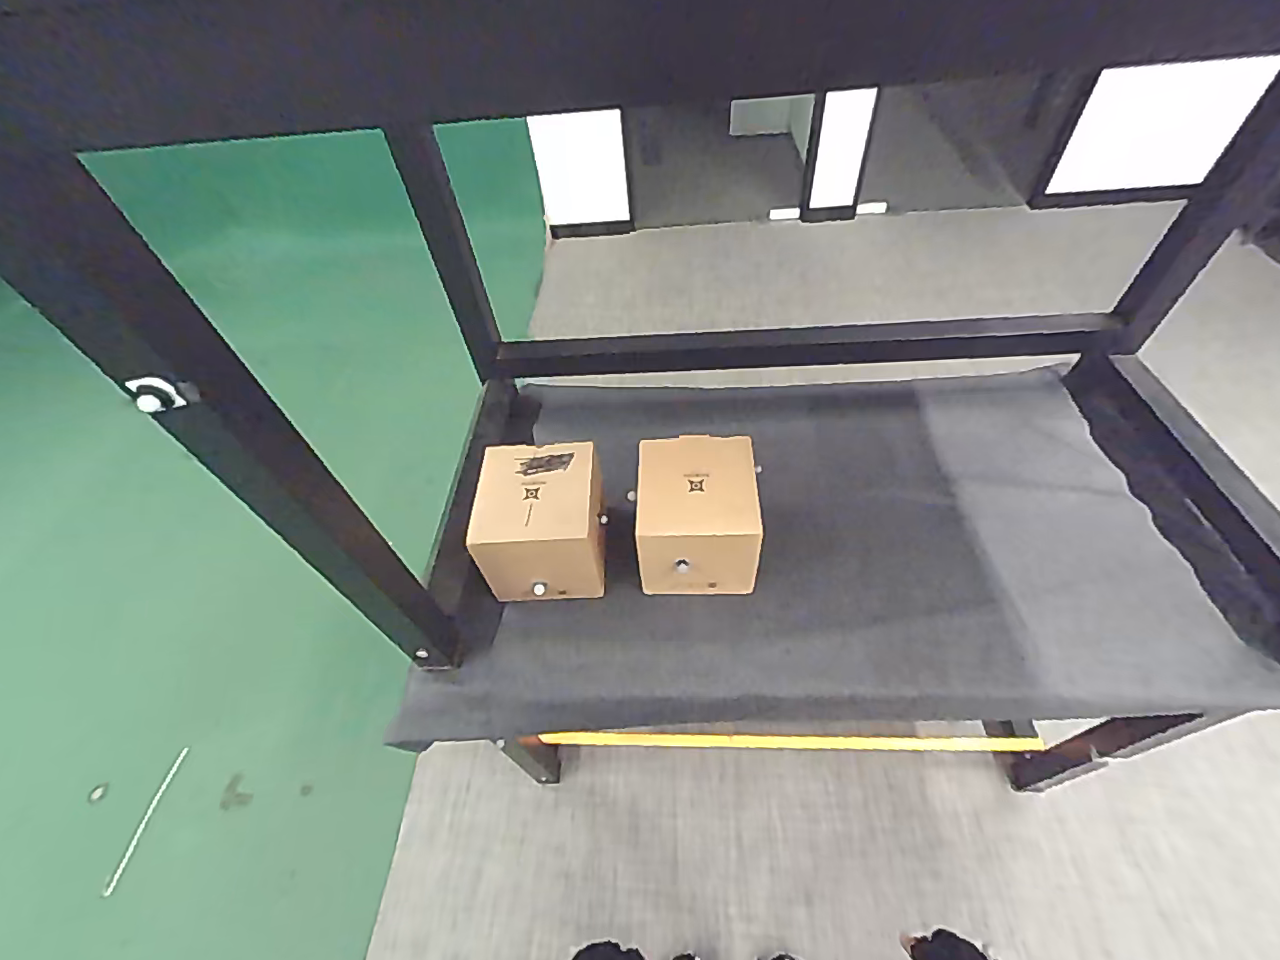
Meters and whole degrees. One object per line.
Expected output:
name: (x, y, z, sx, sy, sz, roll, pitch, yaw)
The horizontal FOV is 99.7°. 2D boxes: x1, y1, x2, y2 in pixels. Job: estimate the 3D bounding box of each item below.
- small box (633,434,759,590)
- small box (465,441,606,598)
small box: (0.083, 0.053, 0.808, 0.168, 0.176, 0.179, -1, 50, 5)
small box: (-0.144, 0.062, 0.821, 0.168, 0.176, 0.179, -3, 50, 3)
